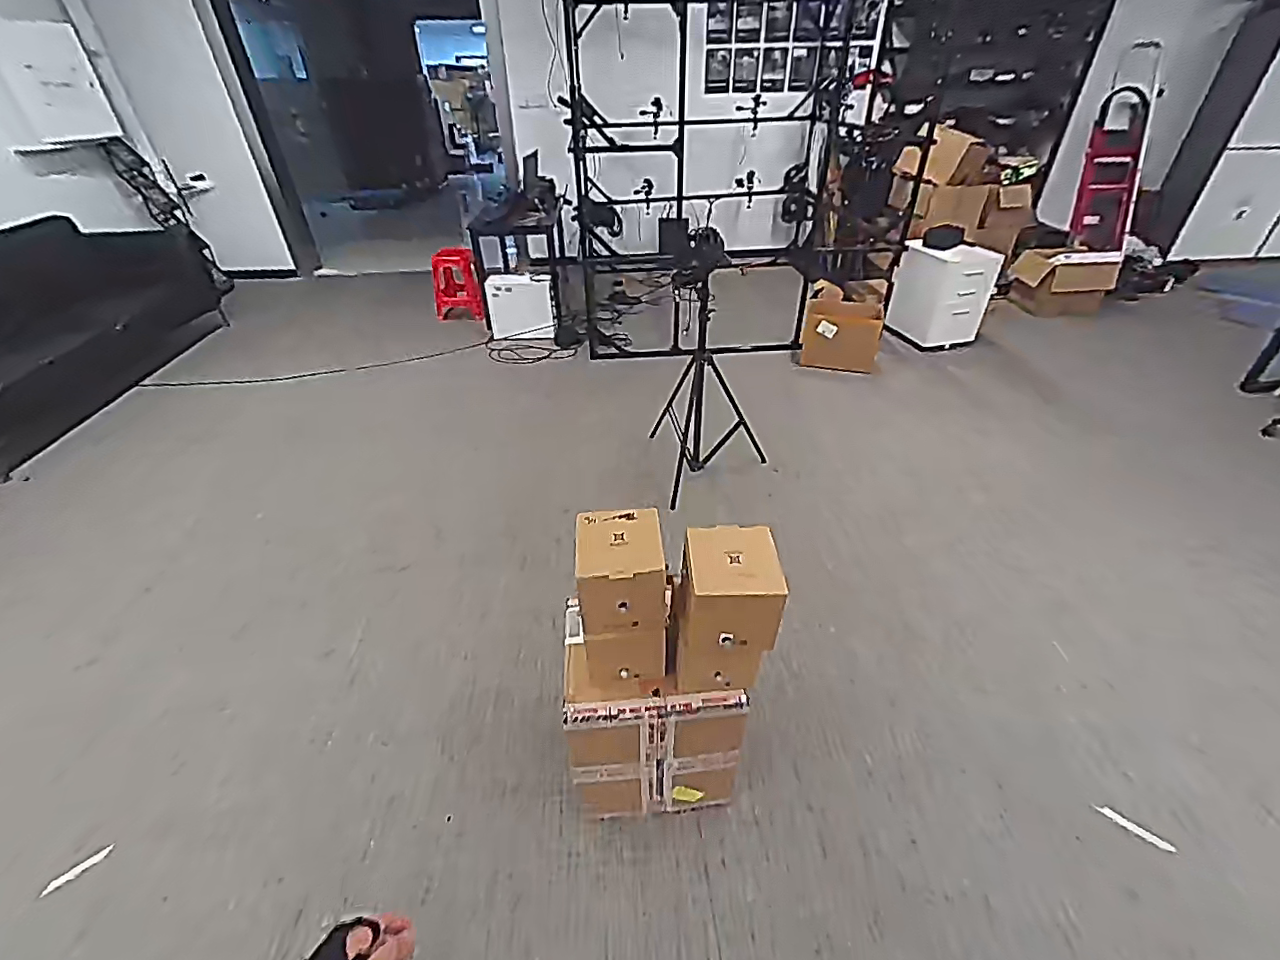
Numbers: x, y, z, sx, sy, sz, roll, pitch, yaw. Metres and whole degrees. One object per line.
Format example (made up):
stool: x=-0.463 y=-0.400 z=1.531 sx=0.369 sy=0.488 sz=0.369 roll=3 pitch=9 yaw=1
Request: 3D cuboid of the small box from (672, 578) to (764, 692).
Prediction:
small box: x=0.160 y=0.329 z=1.162 sx=0.168 sy=0.176 sz=0.179 roll=-3 pitch=38 yaw=-3

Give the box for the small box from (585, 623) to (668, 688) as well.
small box: x=-0.033 y=0.322 z=1.175 sx=0.168 sy=0.176 sz=0.179 roll=-6 pitch=40 yaw=-4

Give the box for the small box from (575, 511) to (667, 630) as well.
small box: x=-0.036 y=0.186 z=1.083 sx=0.168 sy=0.176 sz=0.179 roll=-4 pitch=39 yaw=-2

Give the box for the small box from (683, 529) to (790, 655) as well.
small box: x=0.176 y=0.215 z=1.046 sx=0.168 sy=0.176 sz=0.179 roll=-3 pitch=38 yaw=-2
